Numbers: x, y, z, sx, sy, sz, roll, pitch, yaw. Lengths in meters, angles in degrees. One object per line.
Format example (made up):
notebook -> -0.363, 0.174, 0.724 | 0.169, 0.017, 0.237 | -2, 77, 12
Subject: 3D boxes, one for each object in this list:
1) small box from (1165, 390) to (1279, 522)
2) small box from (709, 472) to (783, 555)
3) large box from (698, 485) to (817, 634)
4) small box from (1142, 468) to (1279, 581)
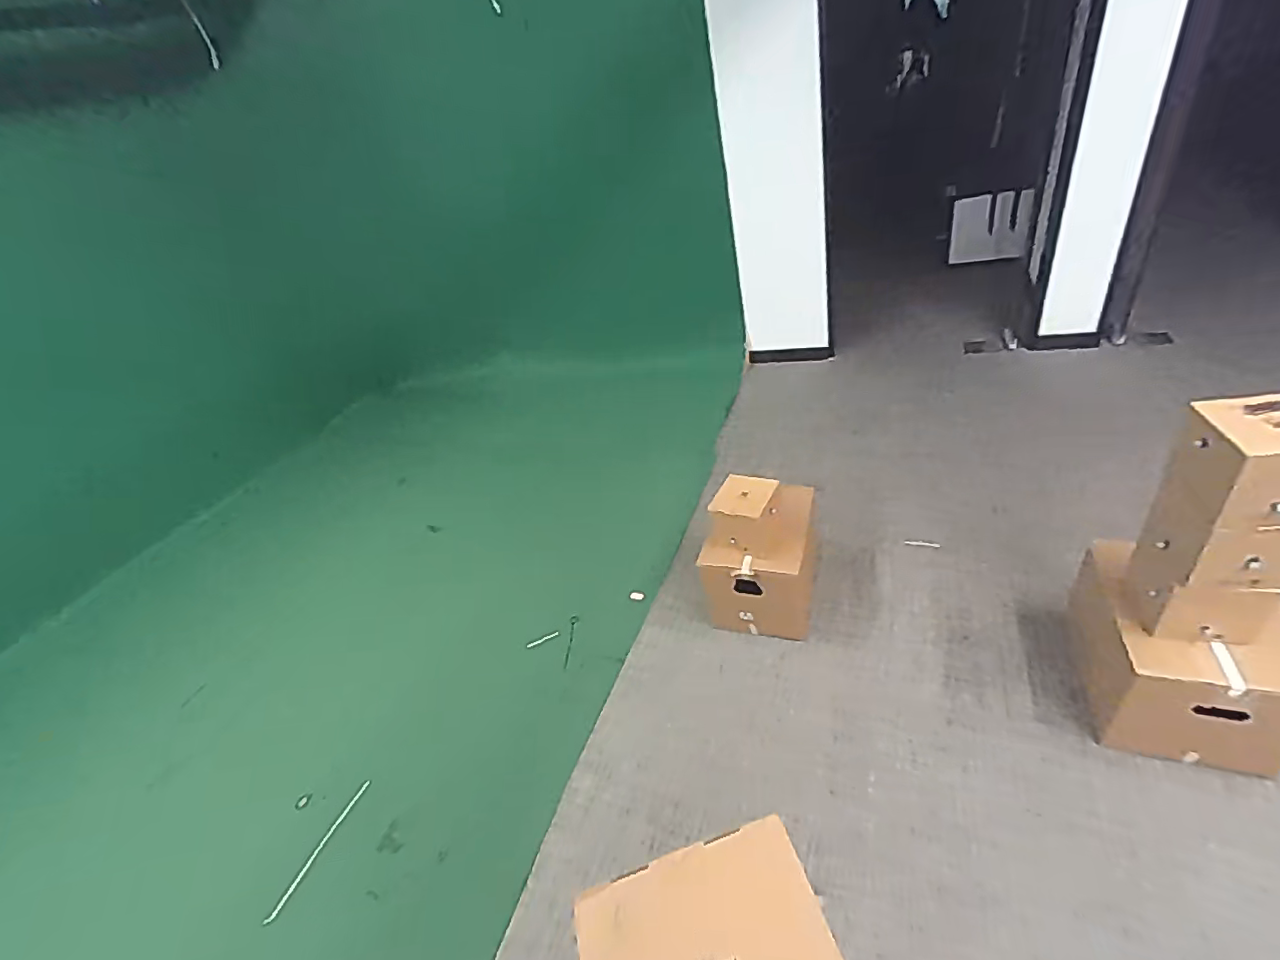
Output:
small box -> 1.113, -0.043, 0.979 | 0.168, 0.176, 0.179 | -6, 38, 18
small box -> 0.331, 0.101, 1.661 | 0.168, 0.176, 0.179 | 9, 44, 34
large box -> 0.417, 0.259, 1.837 | 0.320, 0.320, 0.408 | 2, 39, 25
small box -> 1.155, 0.086, 1.073 | 0.168, 0.176, 0.179 | -5, 38, 19
